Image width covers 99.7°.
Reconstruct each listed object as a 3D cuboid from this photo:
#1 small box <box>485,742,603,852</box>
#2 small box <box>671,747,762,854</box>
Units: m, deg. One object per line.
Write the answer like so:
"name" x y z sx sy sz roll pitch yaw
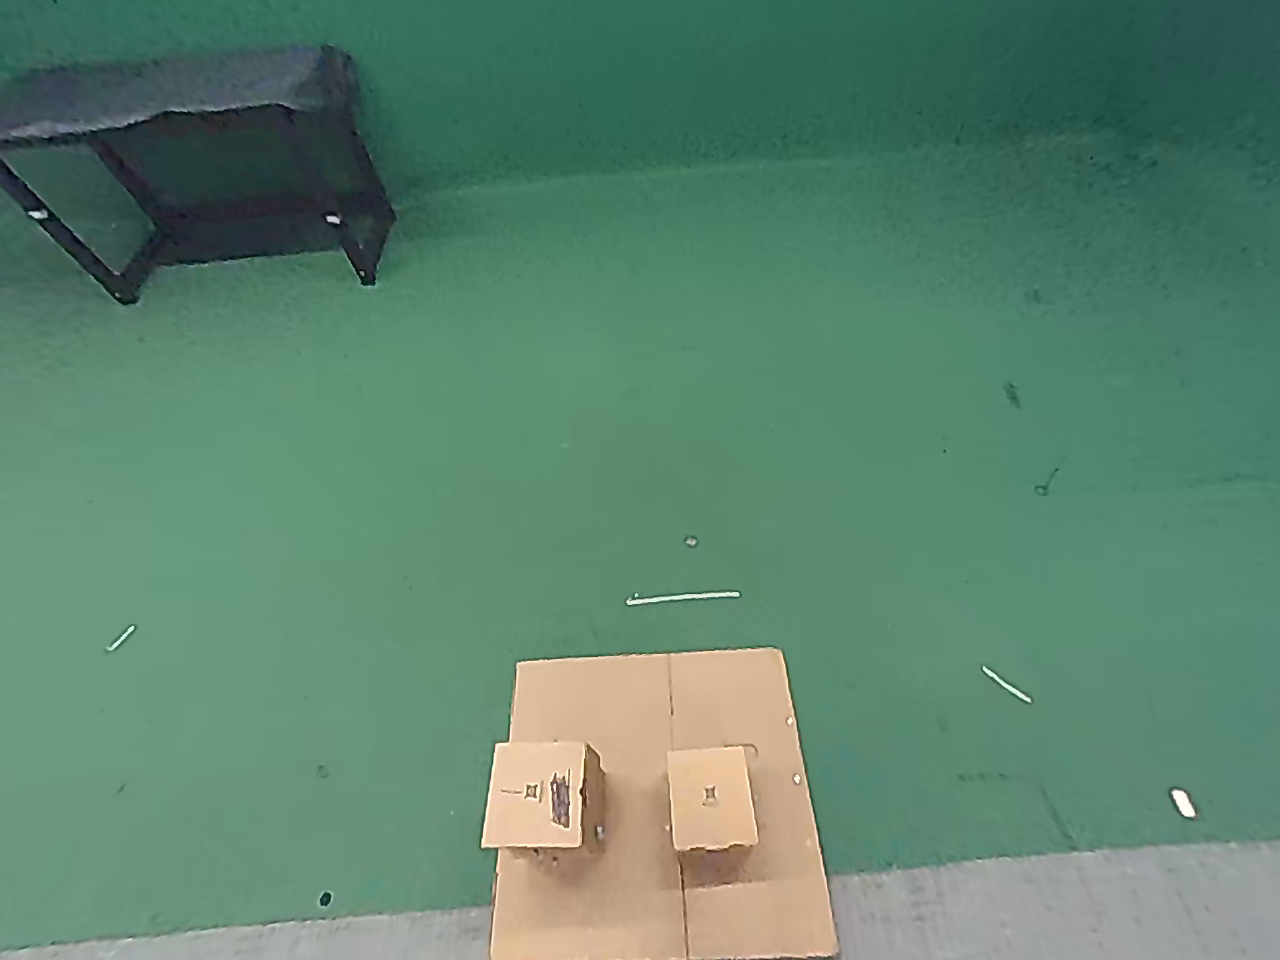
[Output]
"small box" -0.169 0.601 1.024 0.179 0.176 0.168 -3 54 6
"small box" 0.154 0.681 1.145 0.168 0.176 0.179 -5 54 1
